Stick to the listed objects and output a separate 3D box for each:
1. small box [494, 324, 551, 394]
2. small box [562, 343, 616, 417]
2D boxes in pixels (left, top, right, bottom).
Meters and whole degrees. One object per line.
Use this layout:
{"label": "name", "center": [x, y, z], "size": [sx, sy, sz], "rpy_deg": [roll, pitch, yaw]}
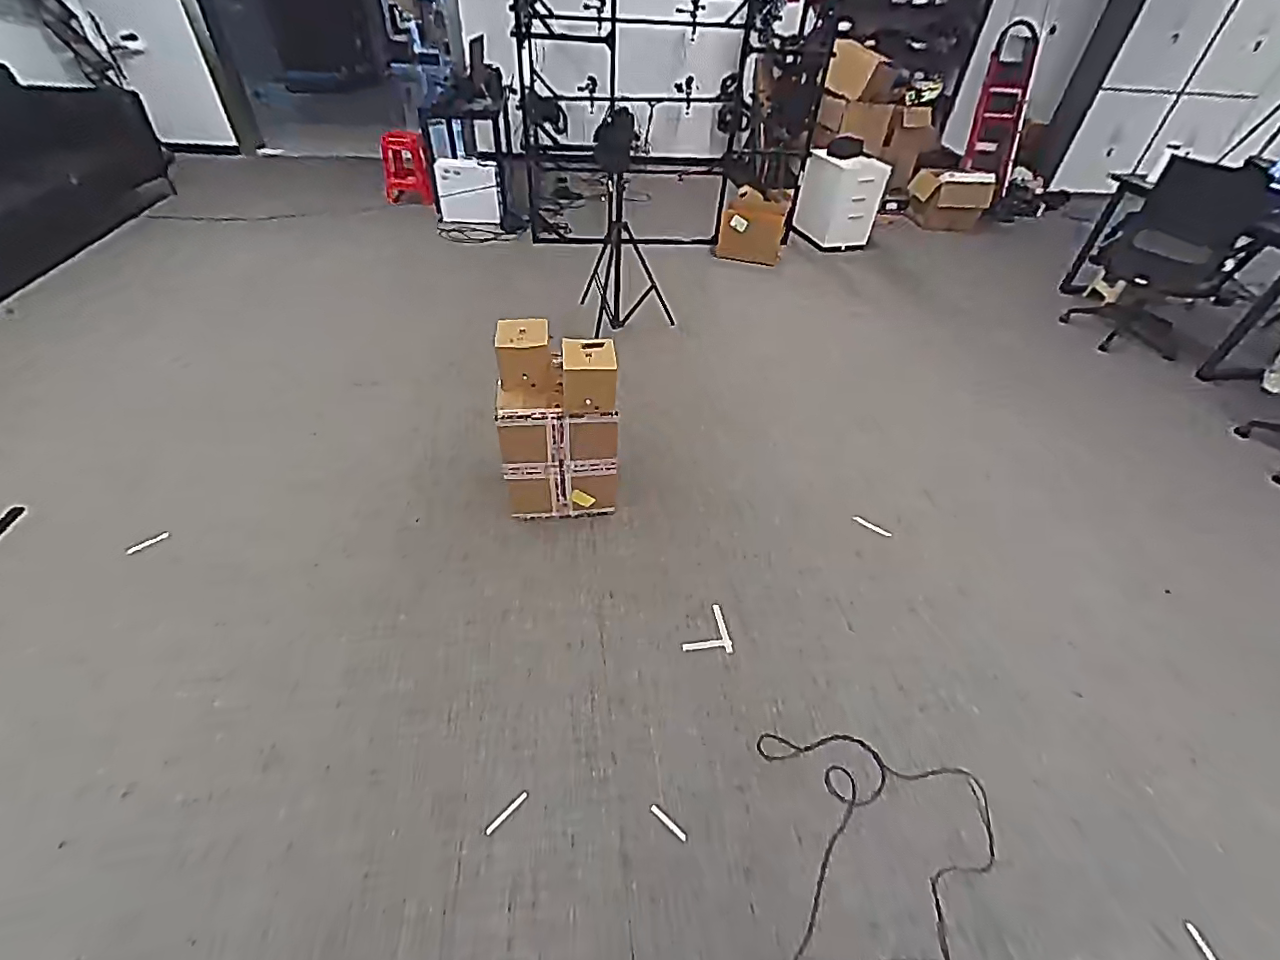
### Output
{"label": "small box", "center": [-0.389, -0.408, 1.815], "size": [0.168, 0.176, 0.179], "rpy_deg": [-3, 45, -6]}
{"label": "small box", "center": [-0.170, -0.324, 1.748], "size": [0.168, 0.176, 0.179], "rpy_deg": [-2, 46, -8]}
